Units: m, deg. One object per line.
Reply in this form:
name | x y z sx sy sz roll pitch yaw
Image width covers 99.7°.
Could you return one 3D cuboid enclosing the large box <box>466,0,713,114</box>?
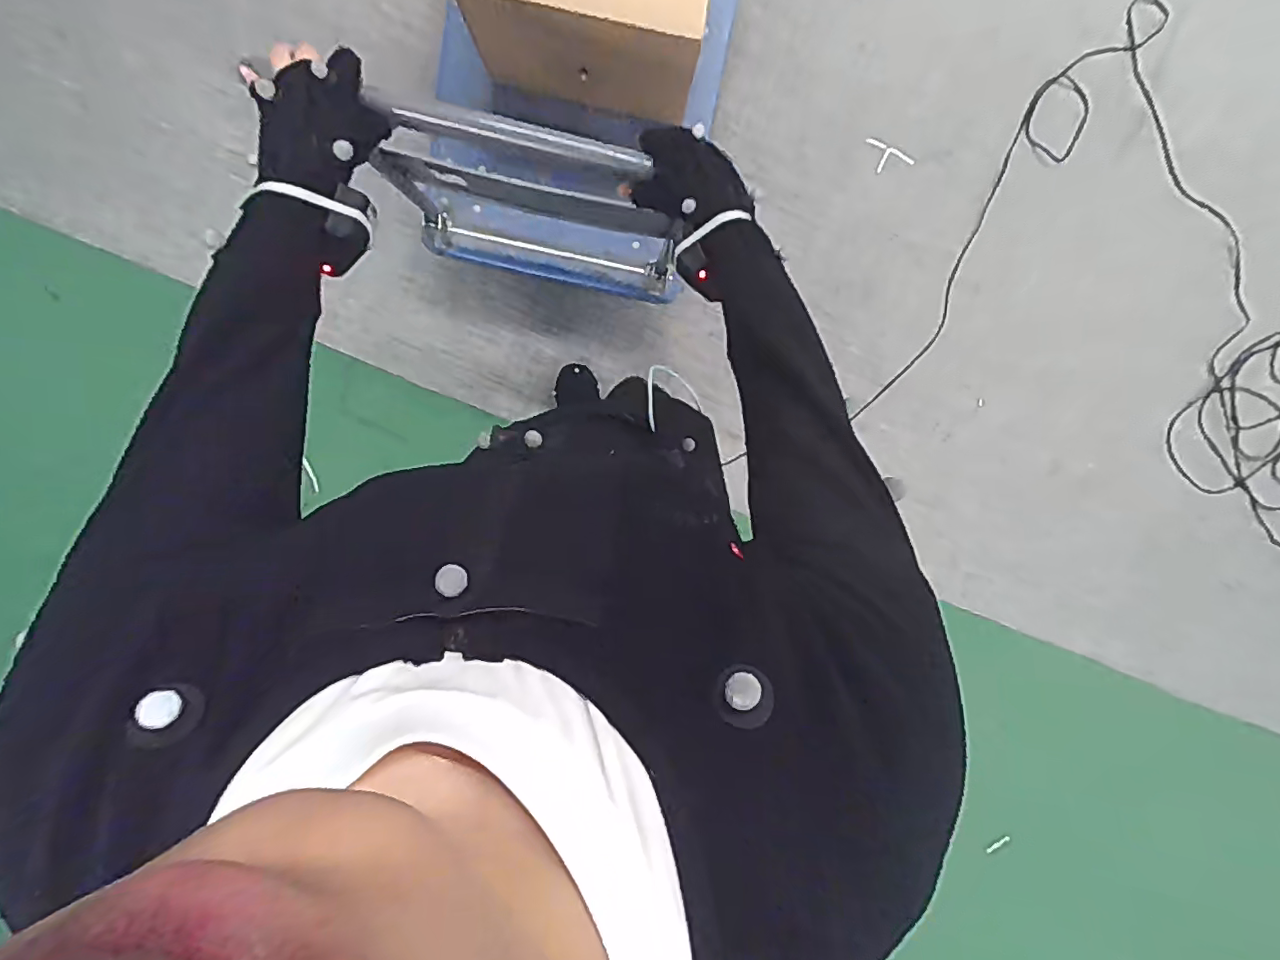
large box | -0.067 -0.918 0.964 0.408 0.320 0.320 10 101 -4
